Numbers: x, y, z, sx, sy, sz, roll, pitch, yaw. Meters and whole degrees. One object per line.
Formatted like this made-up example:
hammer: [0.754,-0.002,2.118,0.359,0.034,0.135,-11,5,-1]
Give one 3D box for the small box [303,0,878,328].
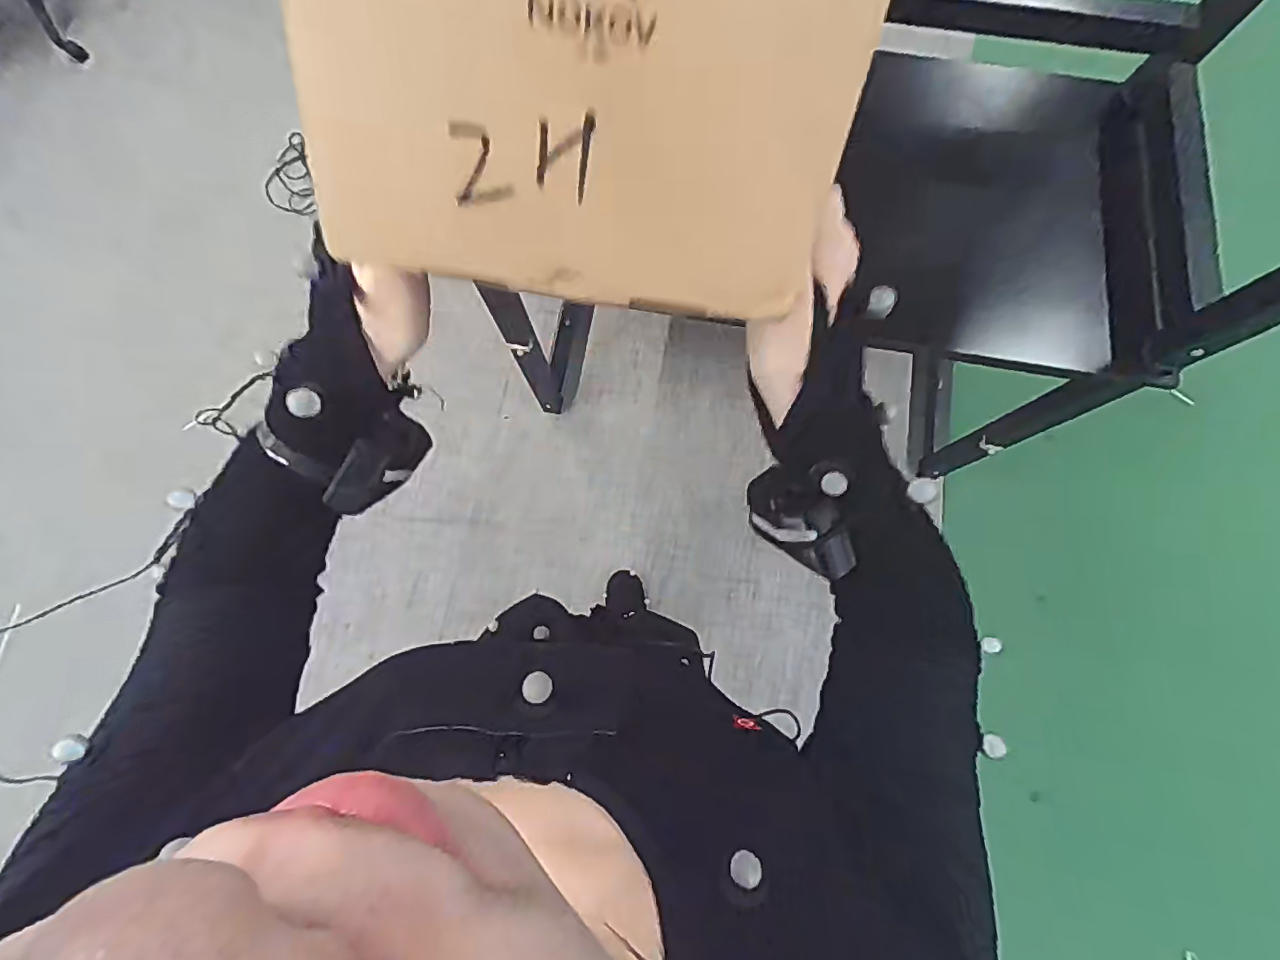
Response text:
small box: [-0.016,-0.185,0.221,0.168,0.179,0.176,6,36,-7]
